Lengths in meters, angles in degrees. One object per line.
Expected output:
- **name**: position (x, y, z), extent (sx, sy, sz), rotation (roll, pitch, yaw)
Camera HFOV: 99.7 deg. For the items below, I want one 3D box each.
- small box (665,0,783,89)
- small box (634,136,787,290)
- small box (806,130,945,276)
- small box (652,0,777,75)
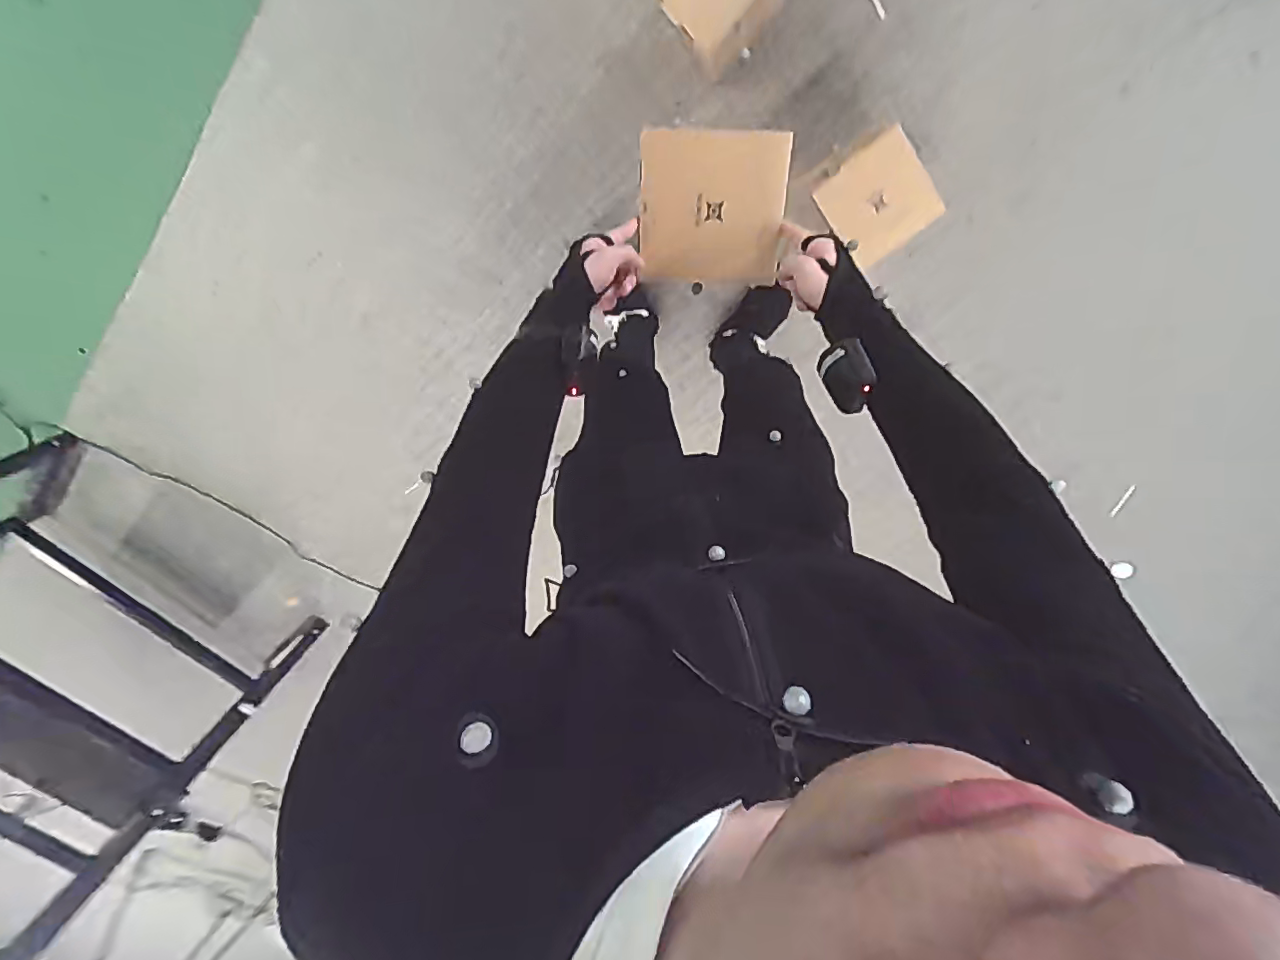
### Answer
- **small box**: position (0.154, -0.906, 1.052), extent (0.168, 0.176, 0.179), rotation (-35, 109, 25)
- **small box**: position (0.086, -0.350, 0.721), extent (0.179, 0.176, 0.168), rotation (2, 114, 4)
- **small box**: position (0.434, -0.522, 1.028), extent (0.168, 0.176, 0.179), rotation (-34, 110, 25)
- **small box**: position (0.127, -0.829, 0.909), extent (0.168, 0.176, 0.179), rotation (44, 118, -15)
